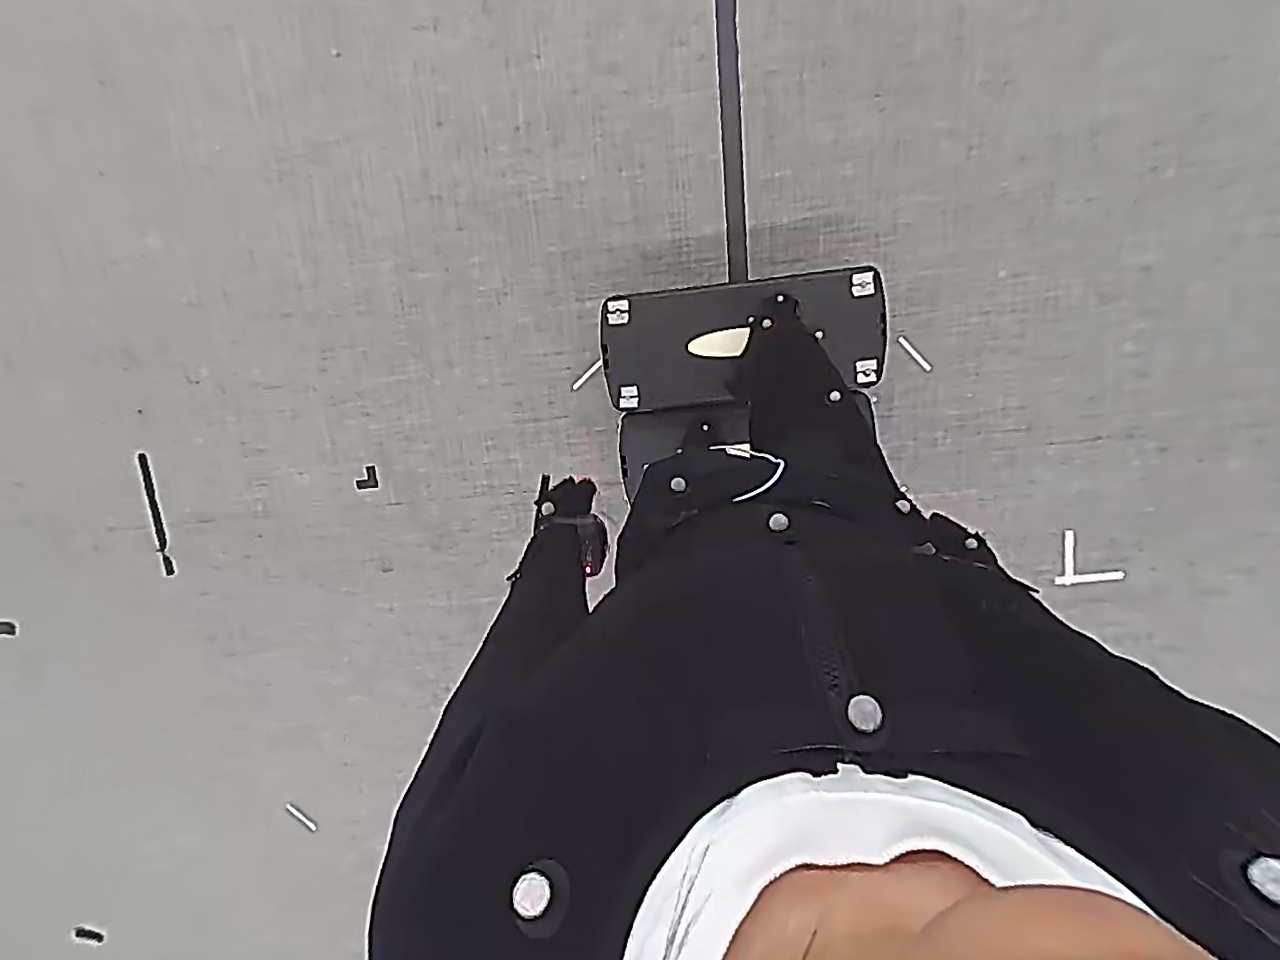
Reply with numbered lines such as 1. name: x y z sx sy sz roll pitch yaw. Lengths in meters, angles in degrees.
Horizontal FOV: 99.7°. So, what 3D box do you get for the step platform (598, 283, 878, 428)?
1. step platform: 0.234 -0.309 1.374 0.684 0.204 0.286 -6 101 5
